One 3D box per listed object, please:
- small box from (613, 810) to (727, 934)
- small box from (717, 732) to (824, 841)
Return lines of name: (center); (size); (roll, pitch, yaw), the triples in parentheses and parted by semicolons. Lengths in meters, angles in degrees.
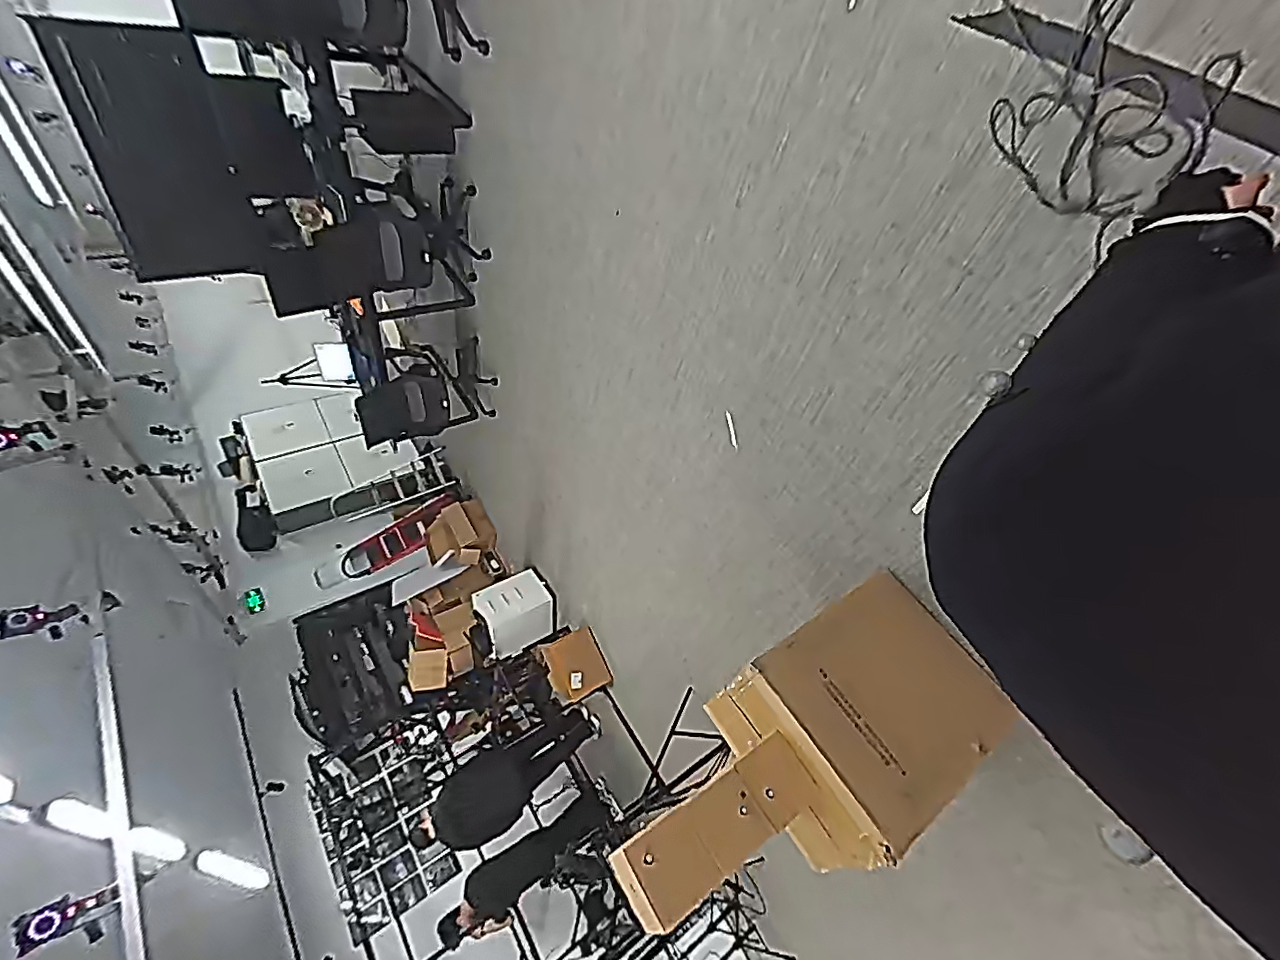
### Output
small box: (0.065, 0.889, 1.240); (0.179, 0.176, 0.168); (53, 147, 26)
small box: (0.337, 0.790, 1.398); (0.179, 0.176, 0.168); (54, 147, 25)
